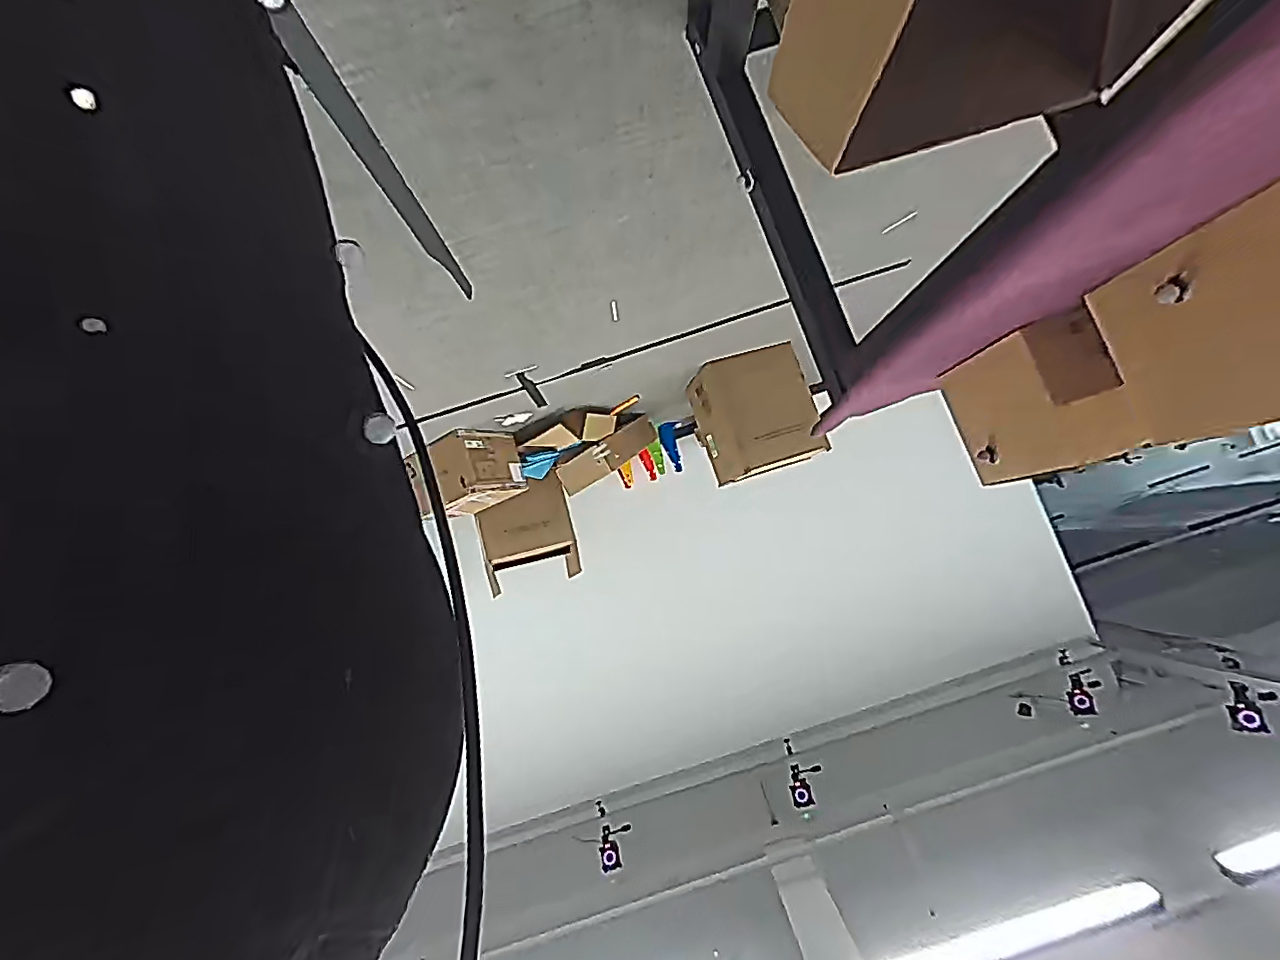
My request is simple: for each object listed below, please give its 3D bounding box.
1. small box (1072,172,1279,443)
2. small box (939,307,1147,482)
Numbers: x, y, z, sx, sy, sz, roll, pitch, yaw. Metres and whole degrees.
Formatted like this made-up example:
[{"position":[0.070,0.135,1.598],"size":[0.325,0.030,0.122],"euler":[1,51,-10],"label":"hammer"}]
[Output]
[{"position":[0.533,-0.147,0.448],"size":[0.168,0.176,0.179],"euler":[-19,172,-3],"label":"small box"},{"position":[0.519,-0.110,0.691],"size":[0.168,0.176,0.179],"euler":[-20,173,-3],"label":"small box"}]
